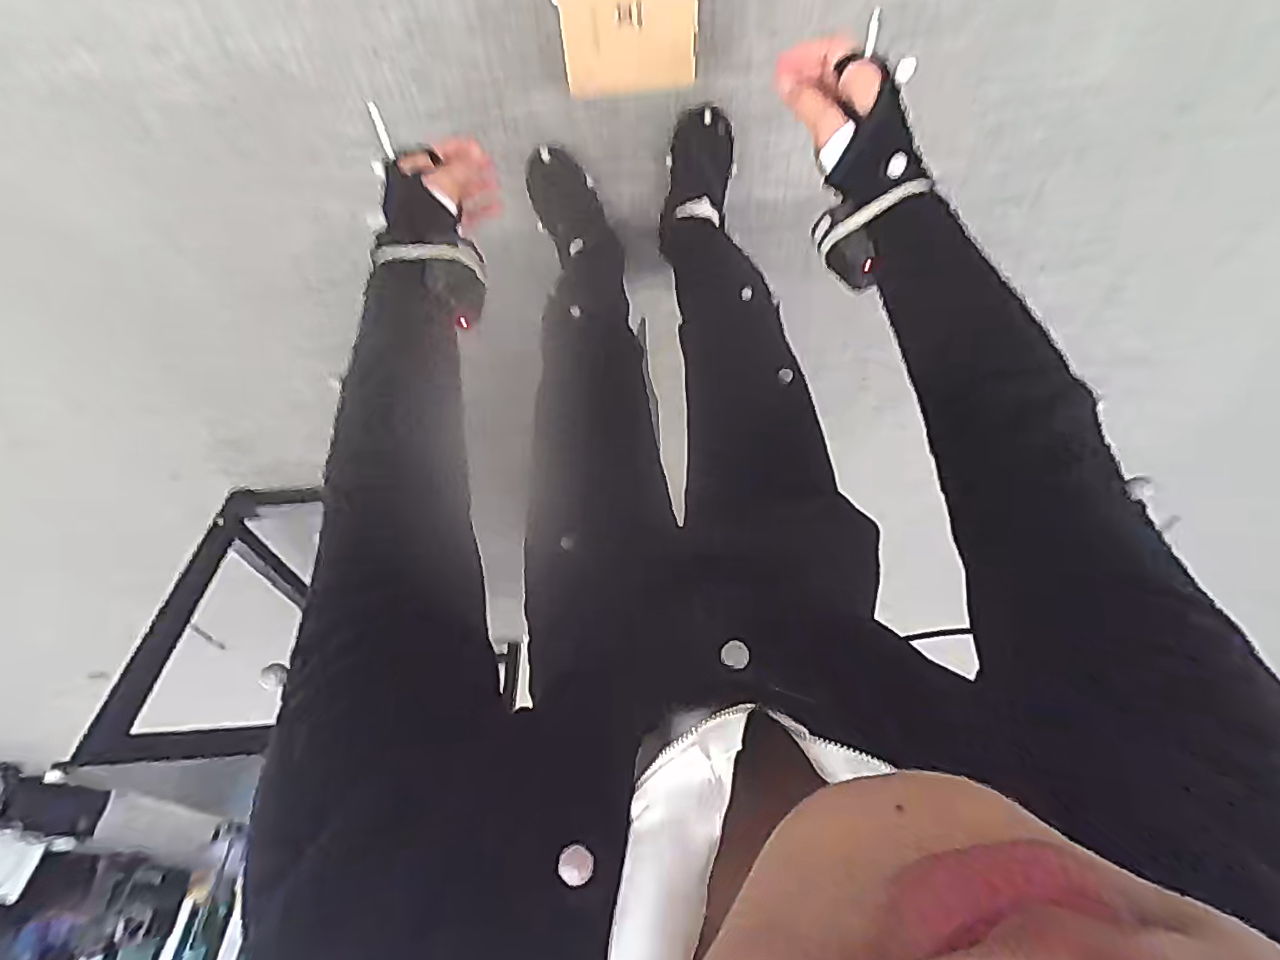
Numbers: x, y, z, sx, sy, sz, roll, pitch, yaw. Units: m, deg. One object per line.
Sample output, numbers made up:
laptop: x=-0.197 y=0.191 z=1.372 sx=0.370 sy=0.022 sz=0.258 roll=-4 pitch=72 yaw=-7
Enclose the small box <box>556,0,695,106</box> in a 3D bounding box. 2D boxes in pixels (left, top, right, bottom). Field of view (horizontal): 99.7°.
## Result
small box: x=-0.020 y=-0.646 z=0.749 sx=0.179 sy=0.176 sz=0.168 roll=-5 pitch=137 yaw=2
